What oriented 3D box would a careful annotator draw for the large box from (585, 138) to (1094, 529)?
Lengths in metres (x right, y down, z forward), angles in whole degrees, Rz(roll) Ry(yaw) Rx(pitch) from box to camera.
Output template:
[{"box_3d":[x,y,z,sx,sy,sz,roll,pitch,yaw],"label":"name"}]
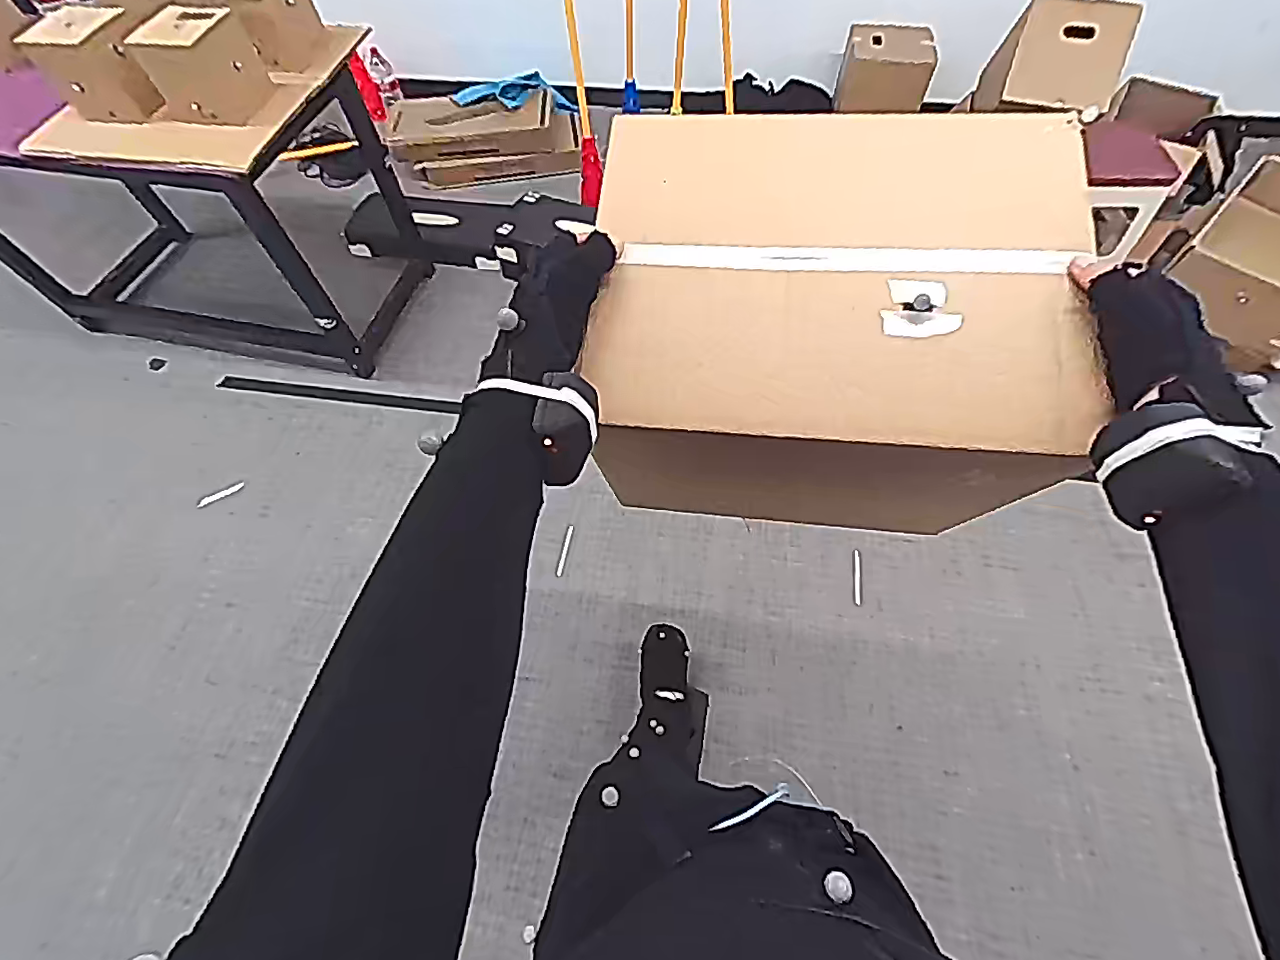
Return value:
[{"box_3d":[0.176,-0.136,0.613,0.408,0.320,0.320,5,75,7],"label":"large box"}]
